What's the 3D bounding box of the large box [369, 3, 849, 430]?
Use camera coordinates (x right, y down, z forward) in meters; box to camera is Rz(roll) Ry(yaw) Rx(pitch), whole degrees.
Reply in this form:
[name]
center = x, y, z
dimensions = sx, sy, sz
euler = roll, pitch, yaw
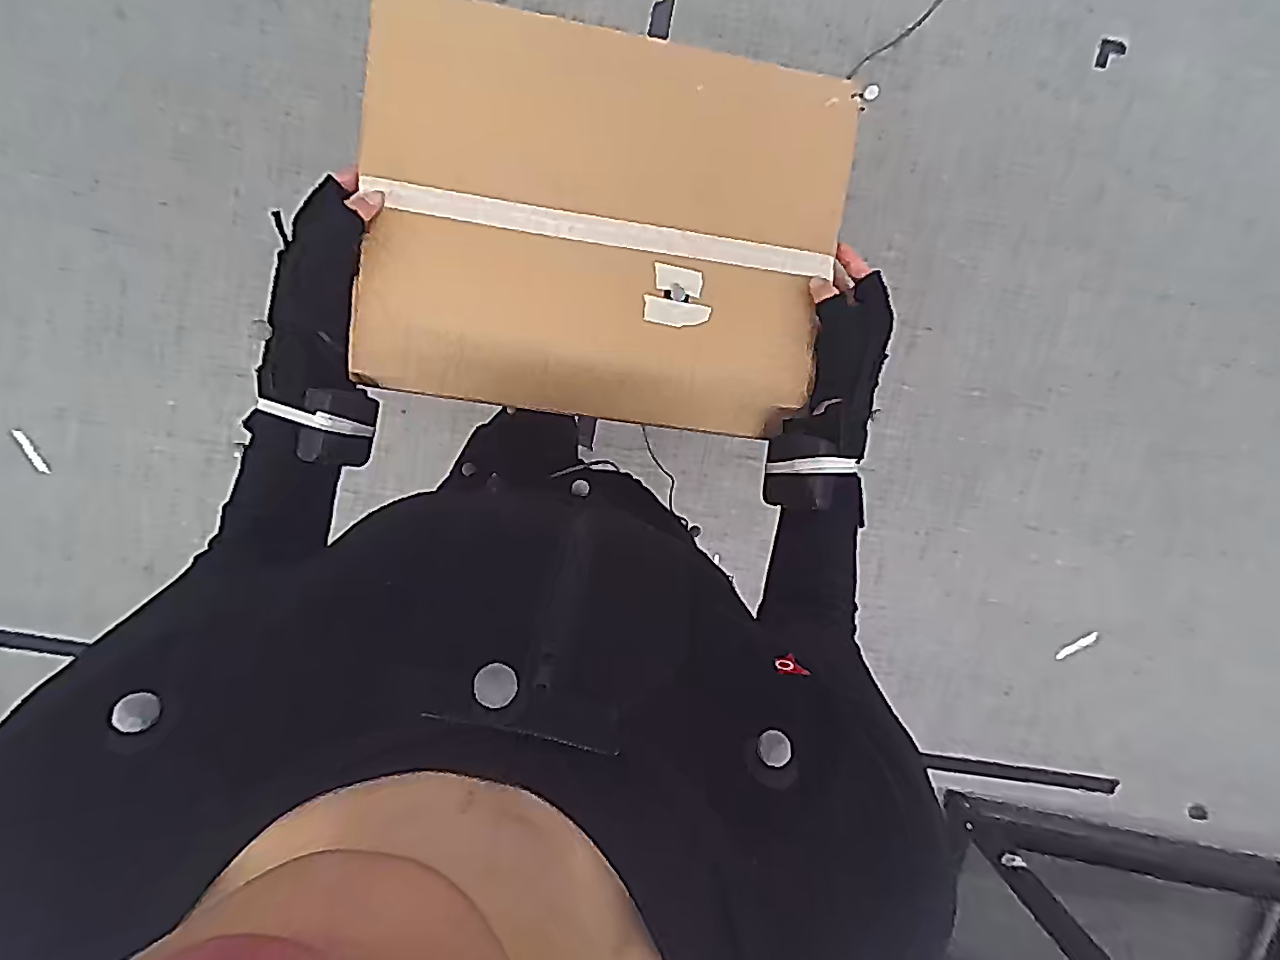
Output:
[large box]
center = -0.043, -0.237, 0.622
dimensions = 0.408, 0.320, 0.320
euler = 7, 98, -7
